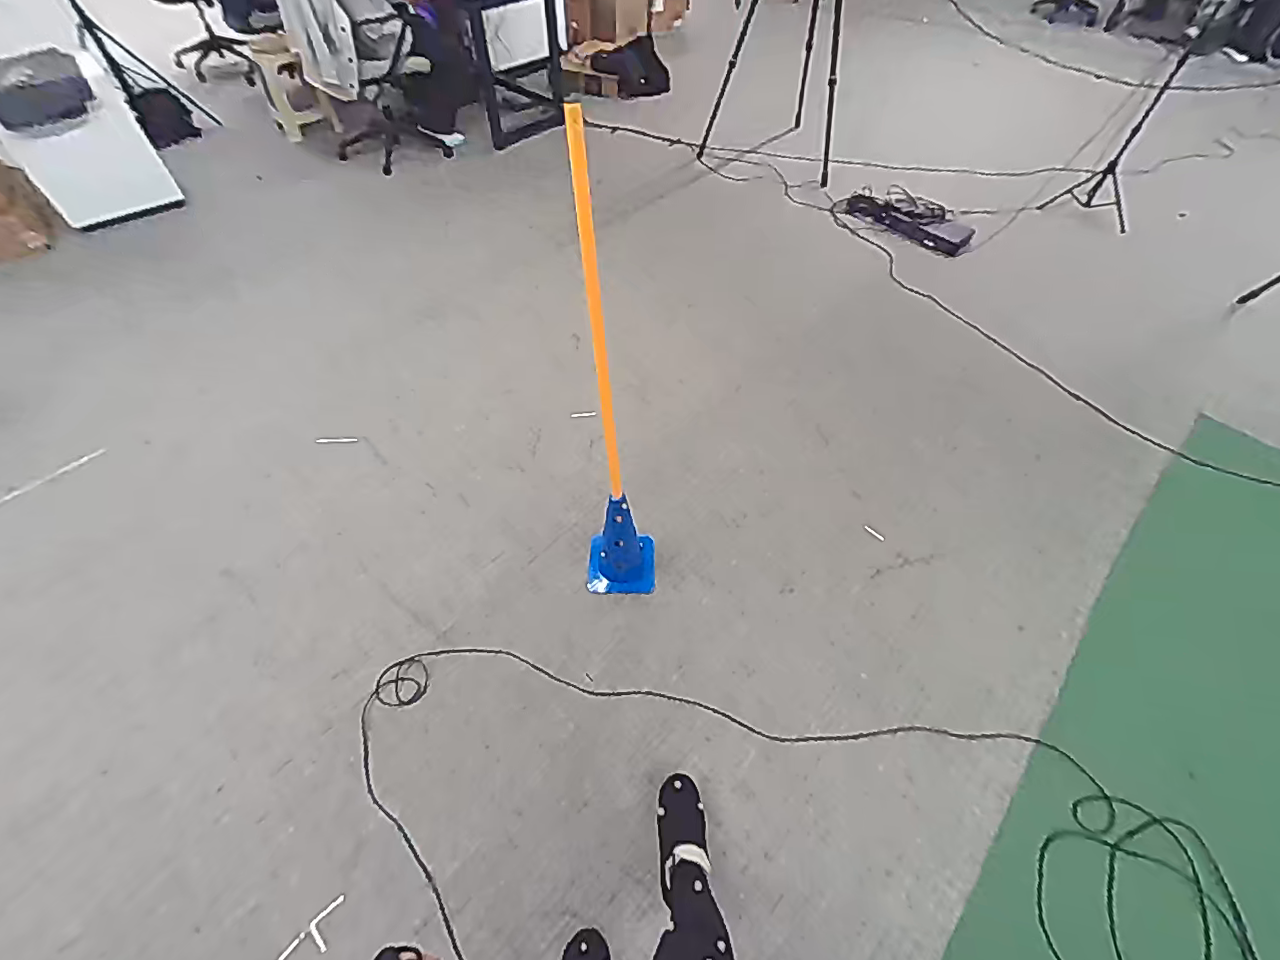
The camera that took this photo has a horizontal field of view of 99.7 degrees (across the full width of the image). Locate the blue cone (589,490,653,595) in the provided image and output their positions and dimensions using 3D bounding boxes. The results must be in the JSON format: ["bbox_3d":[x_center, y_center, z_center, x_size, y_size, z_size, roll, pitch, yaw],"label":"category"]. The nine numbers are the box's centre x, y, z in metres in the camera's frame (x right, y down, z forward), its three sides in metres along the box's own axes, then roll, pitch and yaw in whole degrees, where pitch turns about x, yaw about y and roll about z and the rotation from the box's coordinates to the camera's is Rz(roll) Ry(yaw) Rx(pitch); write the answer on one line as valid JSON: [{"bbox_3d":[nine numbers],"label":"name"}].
[{"bbox_3d":[-0.057,0.156,1.501,0.192,0.380,0.193,-1,51,0],"label":"blue cone"}]
